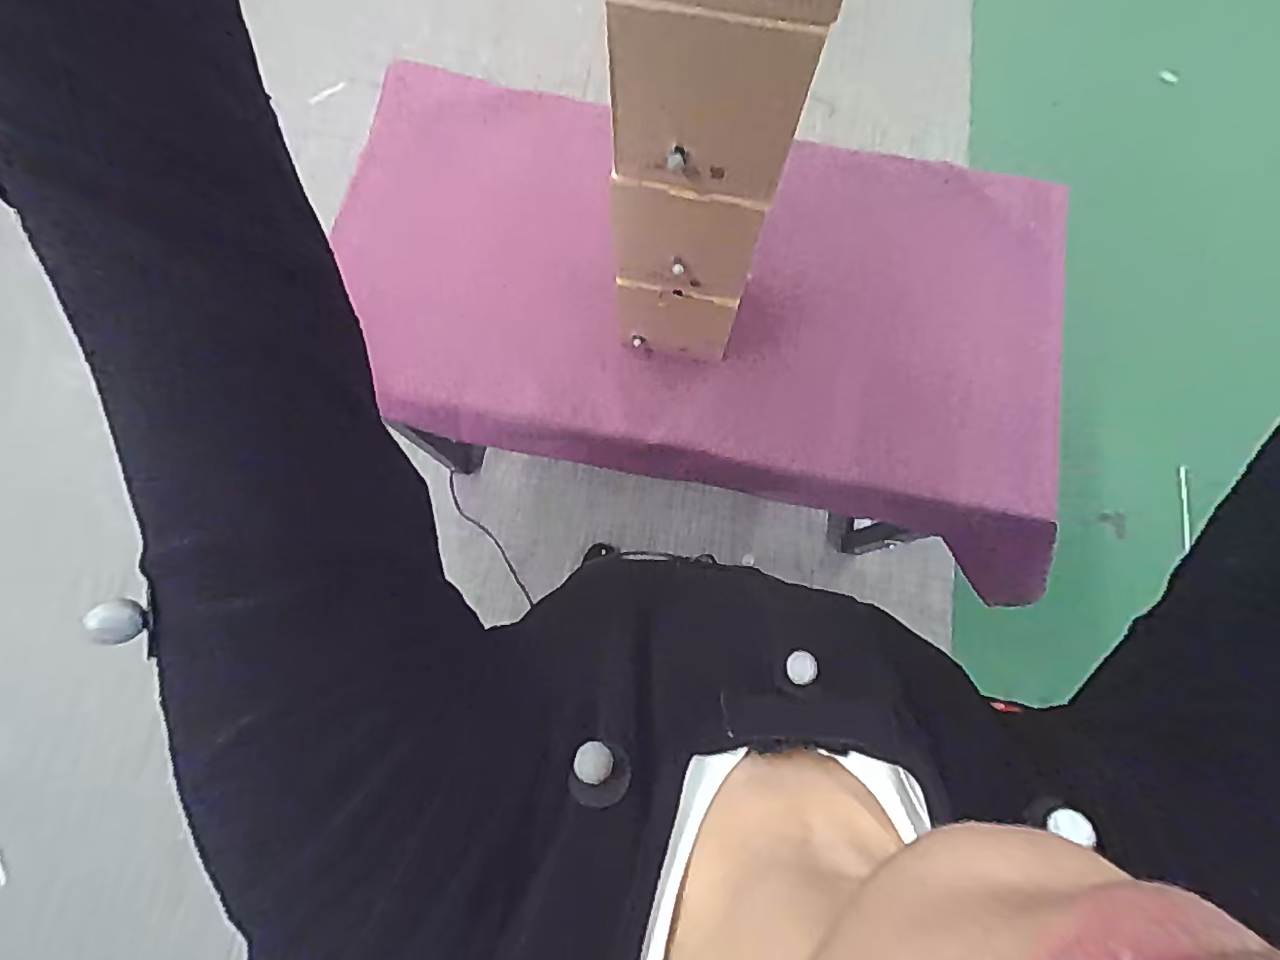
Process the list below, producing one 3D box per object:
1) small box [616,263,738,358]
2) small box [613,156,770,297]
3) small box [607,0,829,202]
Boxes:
[{"bbox_3d":[0.066,-0.304,0.805,0.168,0.176,0.179,12,76,3],"label":"small box"},{"bbox_3d":[0.067,-0.352,0.648,0.168,0.176,0.179,12,77,3],"label":"small box"},{"bbox_3d":[0.070,-0.396,0.491,0.168,0.176,0.179,12,76,3],"label":"small box"}]
